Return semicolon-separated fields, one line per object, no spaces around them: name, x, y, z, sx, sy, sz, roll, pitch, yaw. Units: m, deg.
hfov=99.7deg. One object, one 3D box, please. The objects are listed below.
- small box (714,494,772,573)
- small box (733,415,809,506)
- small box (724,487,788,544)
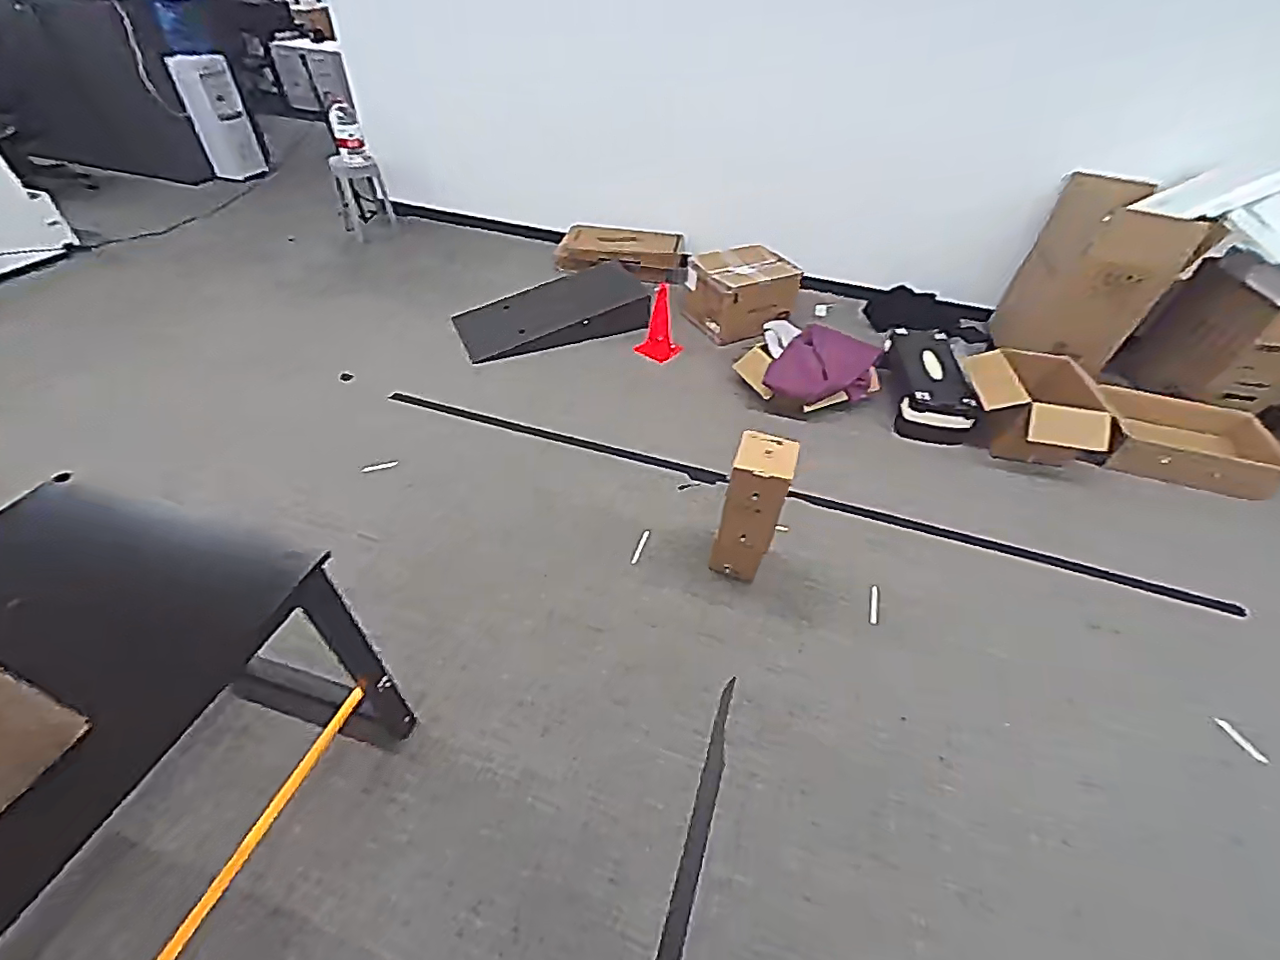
small box;0.346;0.172;1.765;0.168;0.176;0.179;14;47;11
small box;0.366;-0.053;1.526;0.168;0.176;0.179;15;46;12
small box;0.359;0.063;1.642;0.168;0.176;0.179;14;45;12
